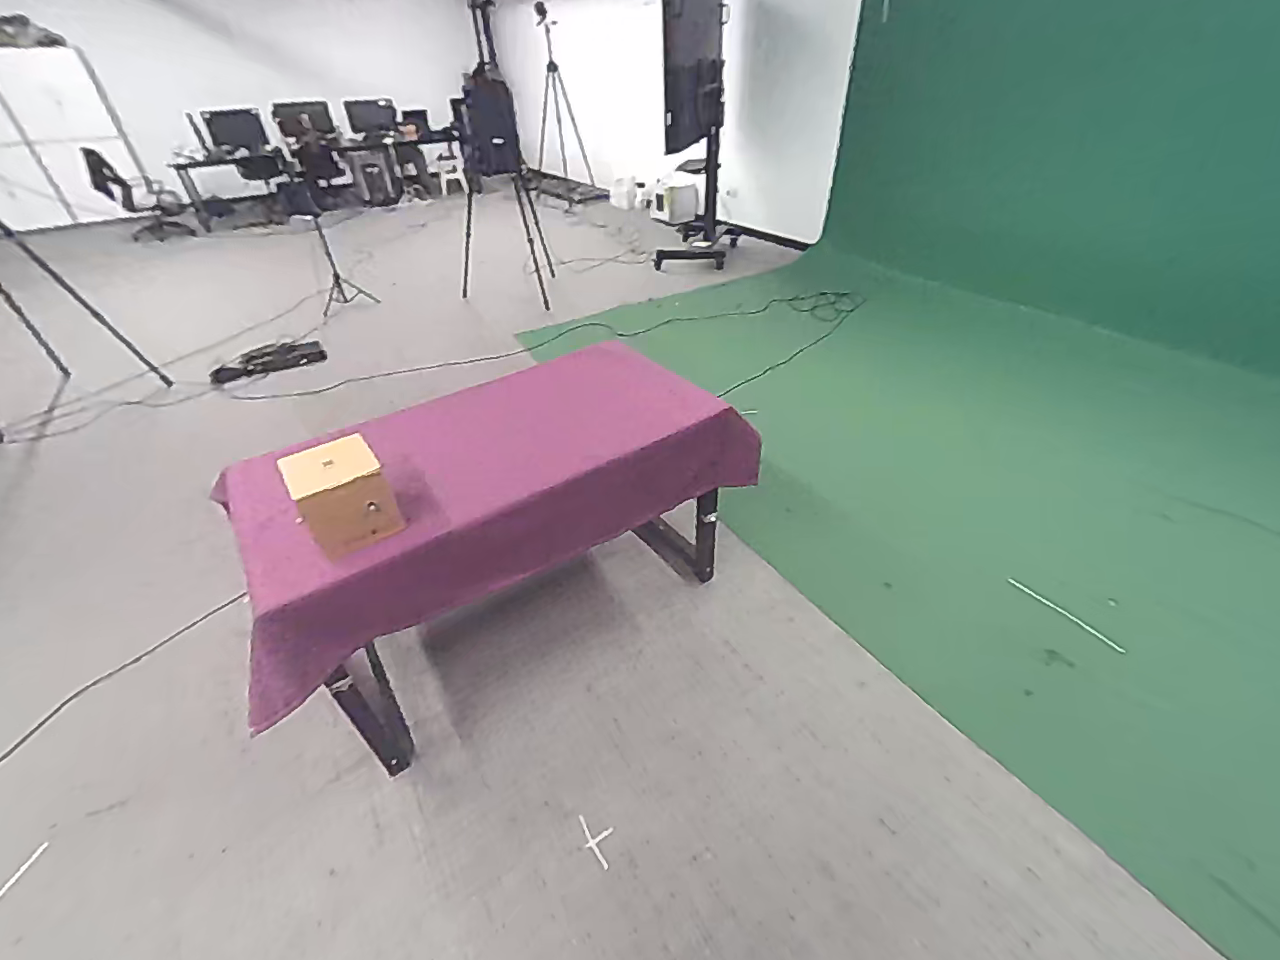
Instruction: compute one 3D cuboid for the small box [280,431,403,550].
[{"bbox_3d":[-0.629,0.027,1.150,0.168,0.176,0.179,-25,43,-28],"label":"small box"}]
